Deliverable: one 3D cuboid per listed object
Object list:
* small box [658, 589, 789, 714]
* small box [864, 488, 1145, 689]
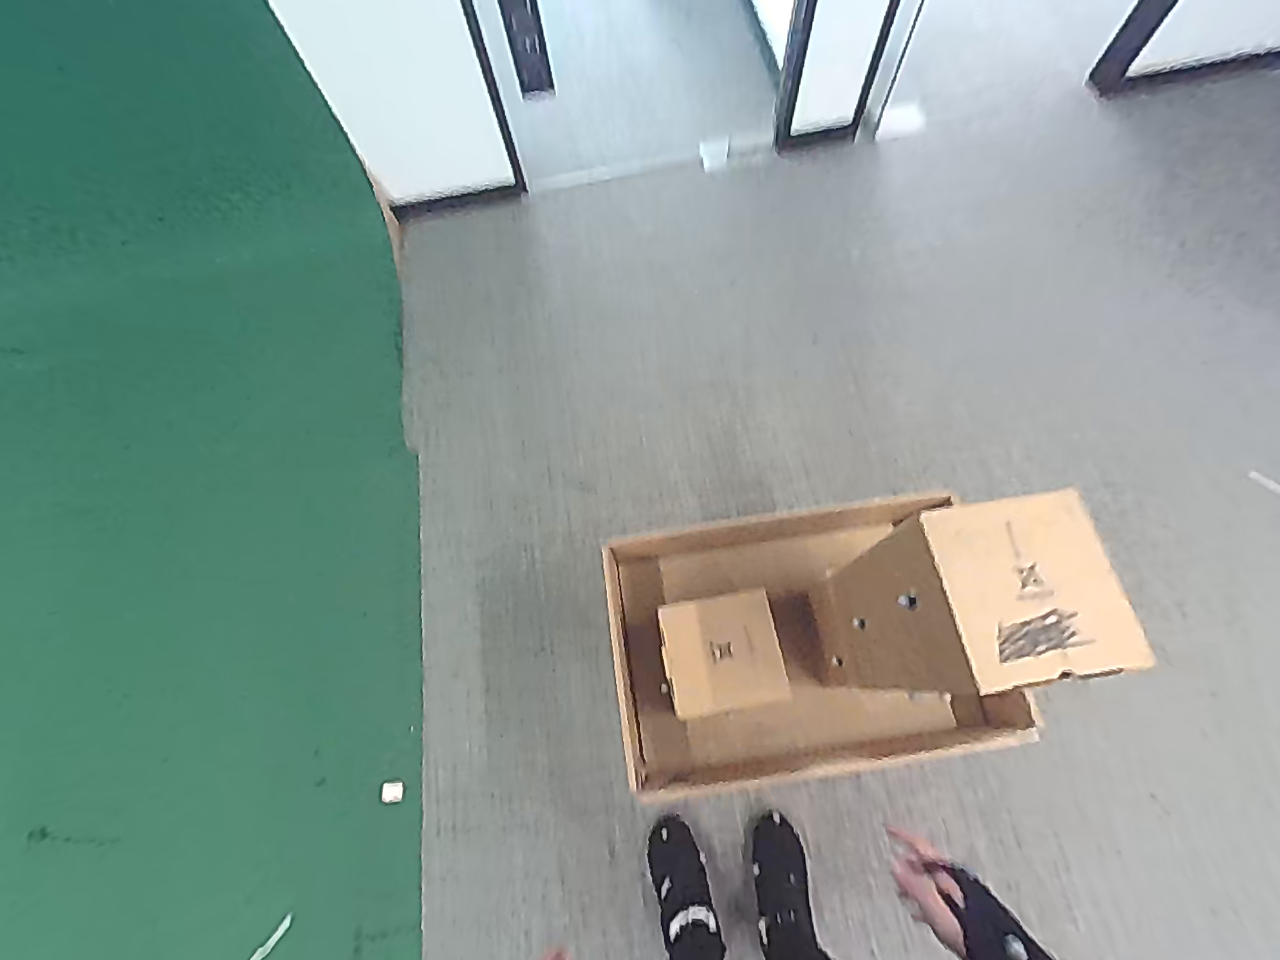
[{"bbox_3d":[0.128,0.289,0.899,0.179,0.176,0.168,-9,69,-2],"label":"small box"},{"bbox_3d":[0.373,0.127,0.596,0.168,0.176,0.179,-8,68,-1],"label":"small box"}]
